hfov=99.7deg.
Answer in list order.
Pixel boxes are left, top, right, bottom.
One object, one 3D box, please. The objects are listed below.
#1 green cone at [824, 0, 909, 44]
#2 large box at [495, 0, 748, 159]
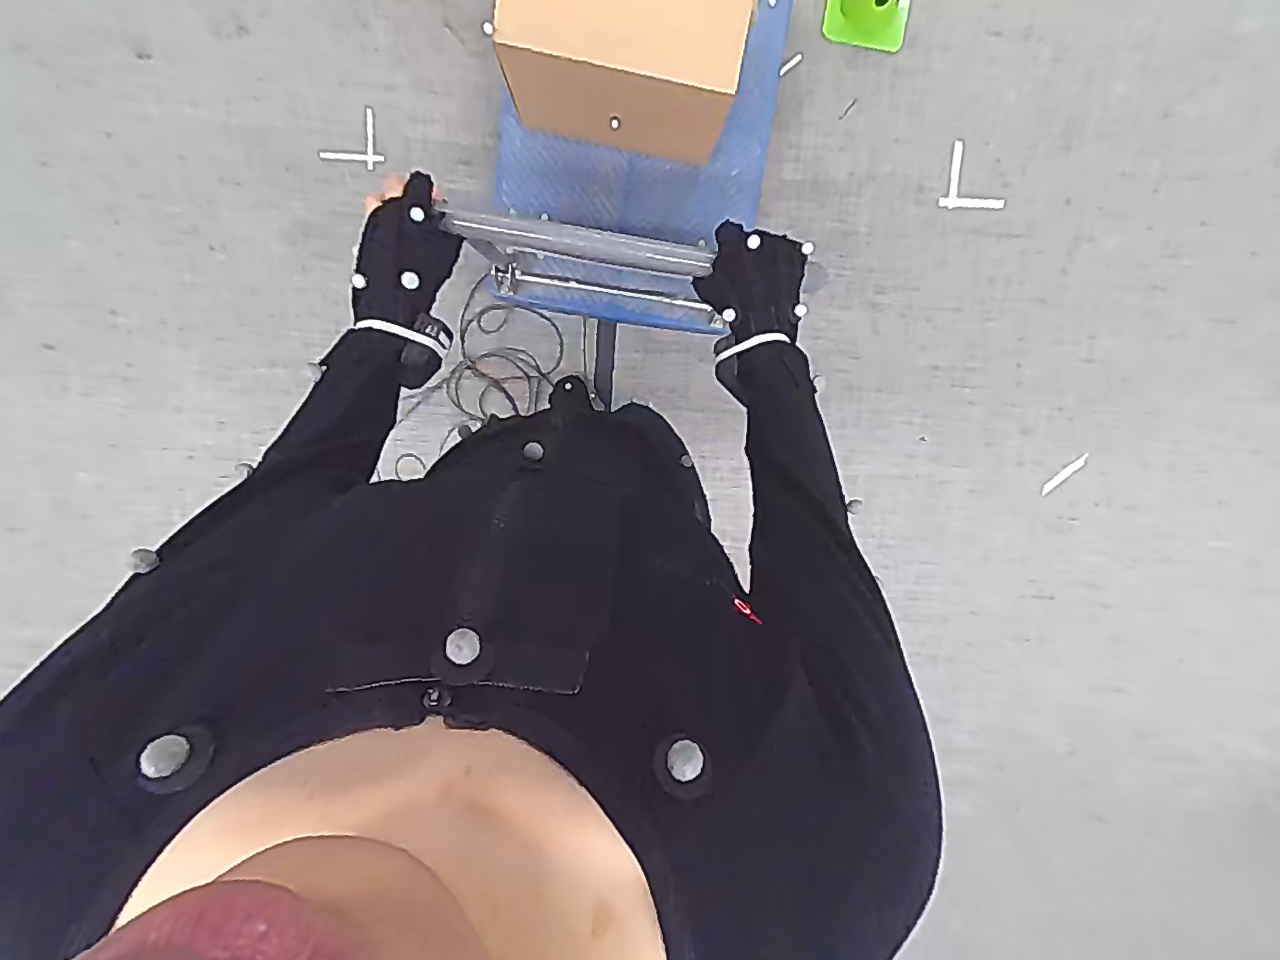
[{"bbox_3d":[0.561,-1.141,1.128,0.202,0.368,0.200,7,100,-5],"label":"green cone"},{"bbox_3d":[-0.020,-0.852,1.009,0.408,0.320,0.320,10,100,-3],"label":"large box"}]
